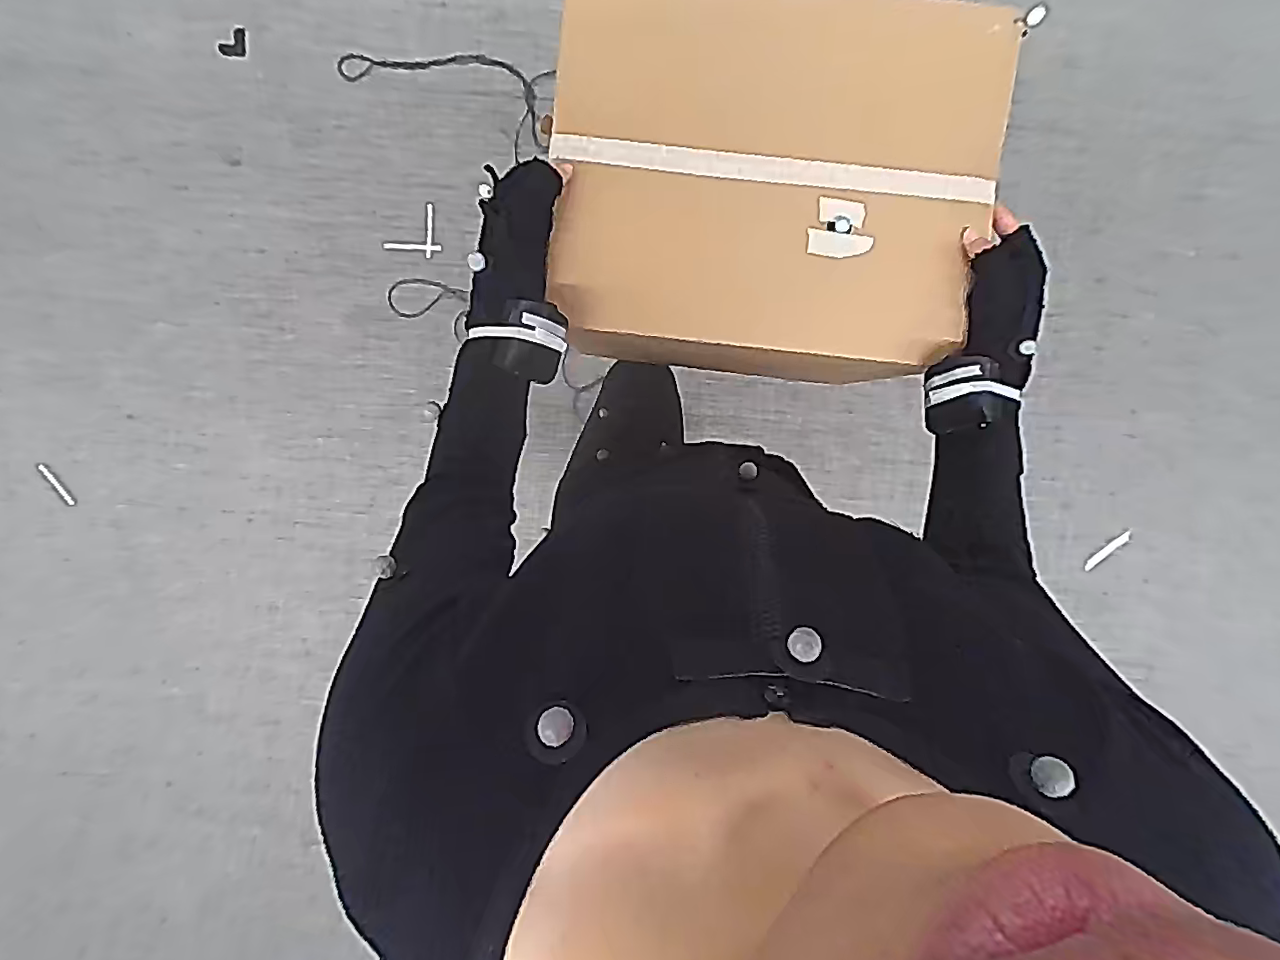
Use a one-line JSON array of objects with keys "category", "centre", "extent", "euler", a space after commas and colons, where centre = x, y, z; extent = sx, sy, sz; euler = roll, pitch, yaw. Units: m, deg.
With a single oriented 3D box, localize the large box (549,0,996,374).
[{"category": "large box", "centre": [0.117, -0.310, 0.660], "extent": [0.408, 0.320, 0.320], "euler": [6, 98, -1]}]
